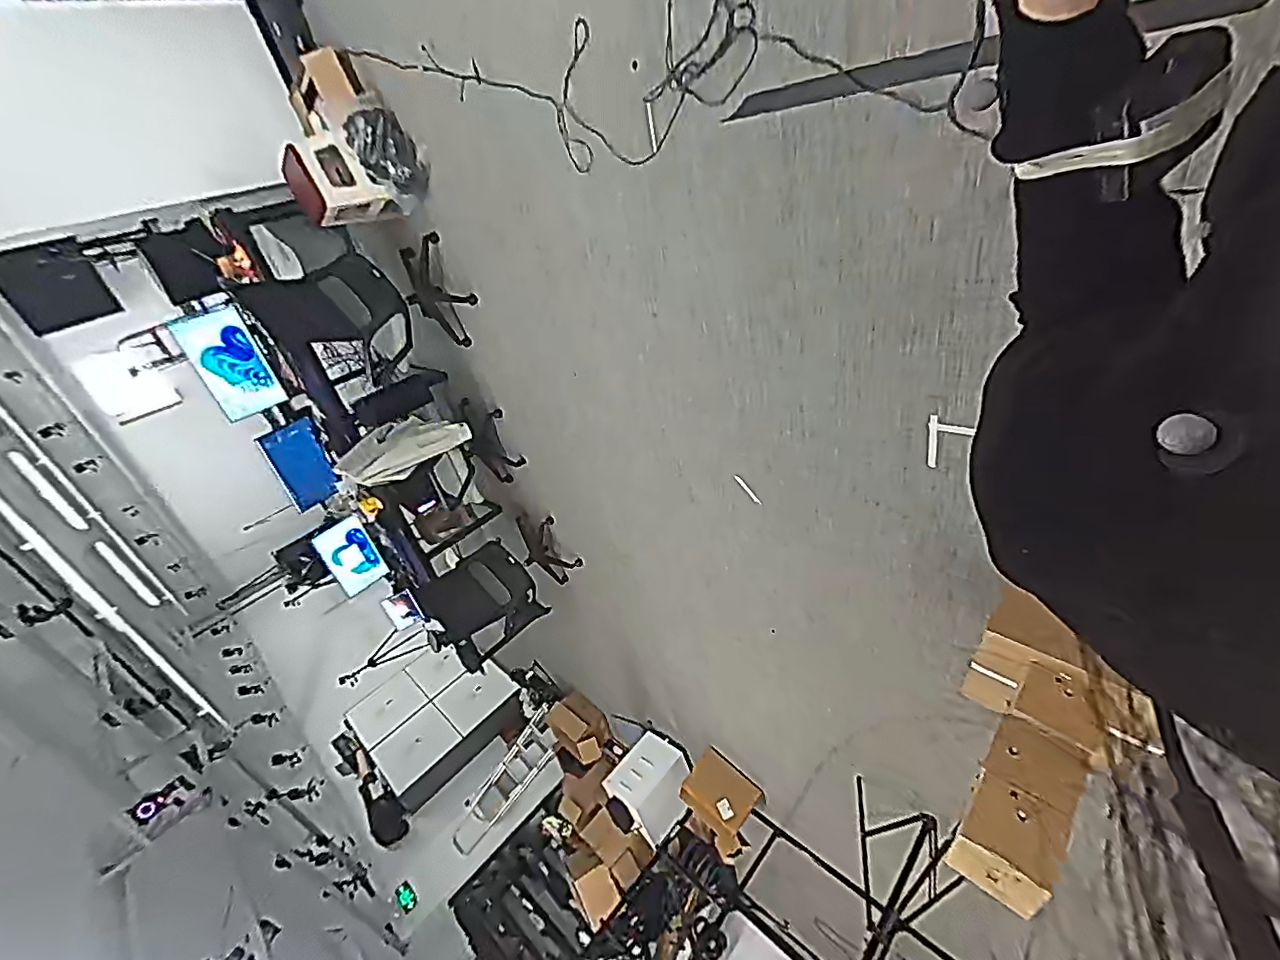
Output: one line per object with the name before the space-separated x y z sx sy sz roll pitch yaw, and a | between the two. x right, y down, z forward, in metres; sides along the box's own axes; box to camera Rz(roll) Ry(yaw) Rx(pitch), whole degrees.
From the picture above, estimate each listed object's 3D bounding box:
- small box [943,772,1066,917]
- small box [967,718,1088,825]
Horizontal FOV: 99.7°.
small box | 0.791 0.786 1.176 0.168 0.176 0.179 24 139 37
small box | 0.897 0.689 1.257 0.179 0.176 0.168 21 137 38
